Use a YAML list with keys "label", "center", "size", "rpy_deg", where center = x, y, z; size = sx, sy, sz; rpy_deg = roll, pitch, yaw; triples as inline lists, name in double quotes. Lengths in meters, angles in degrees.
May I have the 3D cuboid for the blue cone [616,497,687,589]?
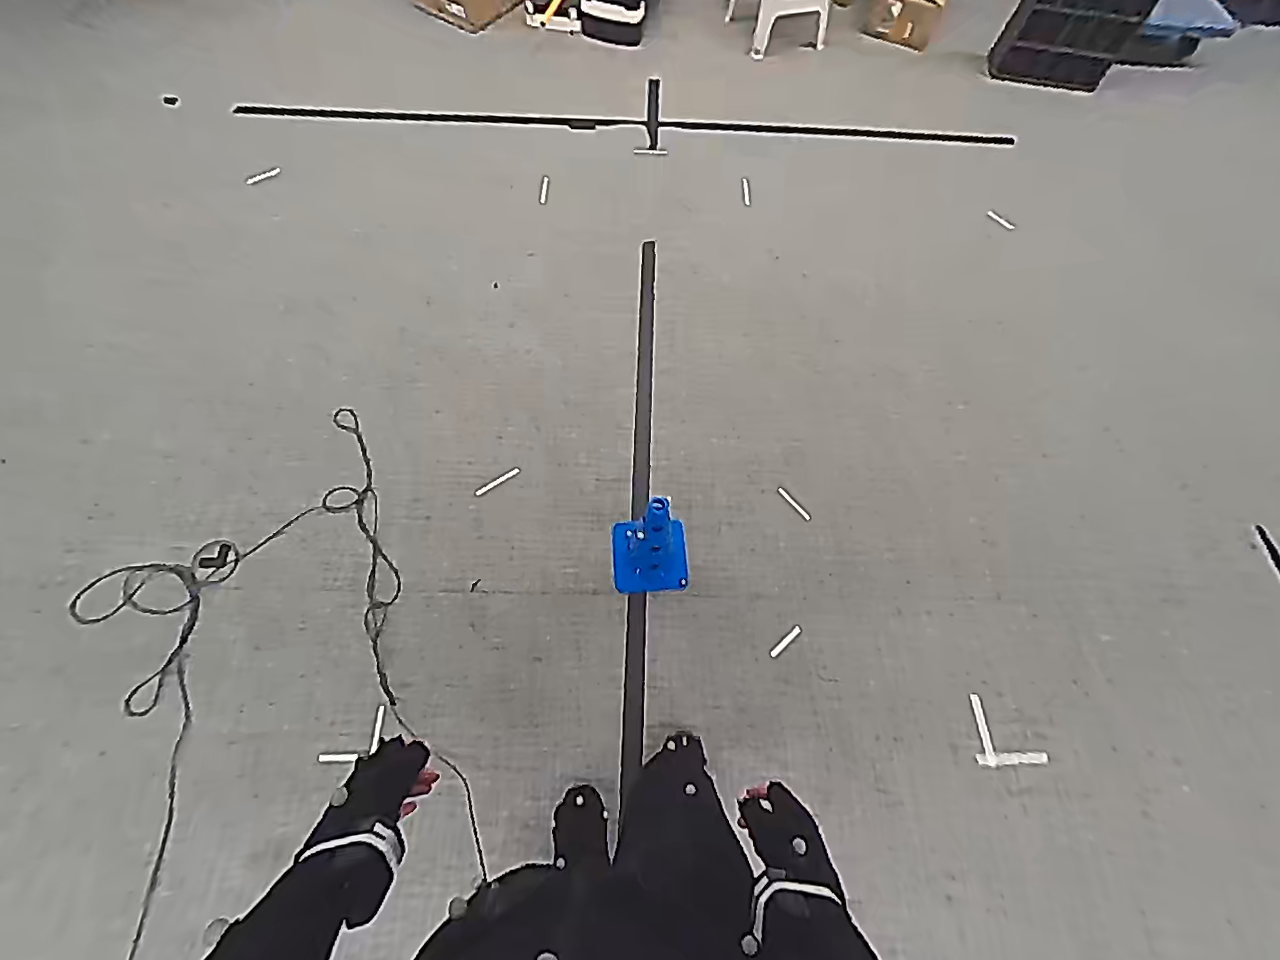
- label: "blue cone"
  center: [0.040, 0.133, 1.337]
  size: [0.192, 0.380, 0.193]
  rpy_deg: [0, 64, -4]
